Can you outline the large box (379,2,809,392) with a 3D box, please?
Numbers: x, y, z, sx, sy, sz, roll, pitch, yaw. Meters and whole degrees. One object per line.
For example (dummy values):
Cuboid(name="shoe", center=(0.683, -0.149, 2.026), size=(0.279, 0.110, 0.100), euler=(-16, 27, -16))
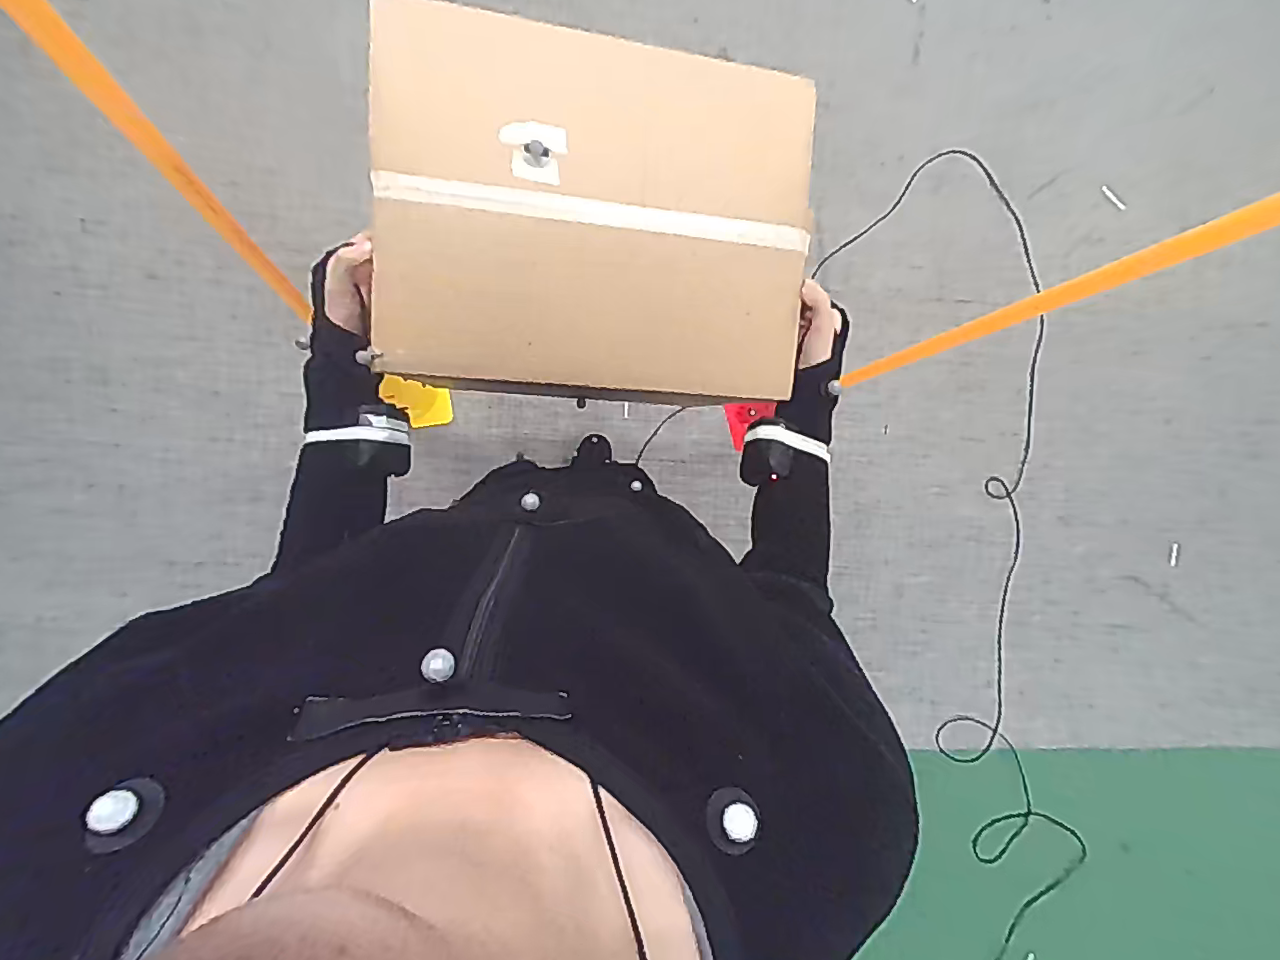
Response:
Cuboid(name="large box", center=(-0.060, -0.271, 0.658), size=(0.408, 0.320, 0.320), euler=(2, 96, -12))
